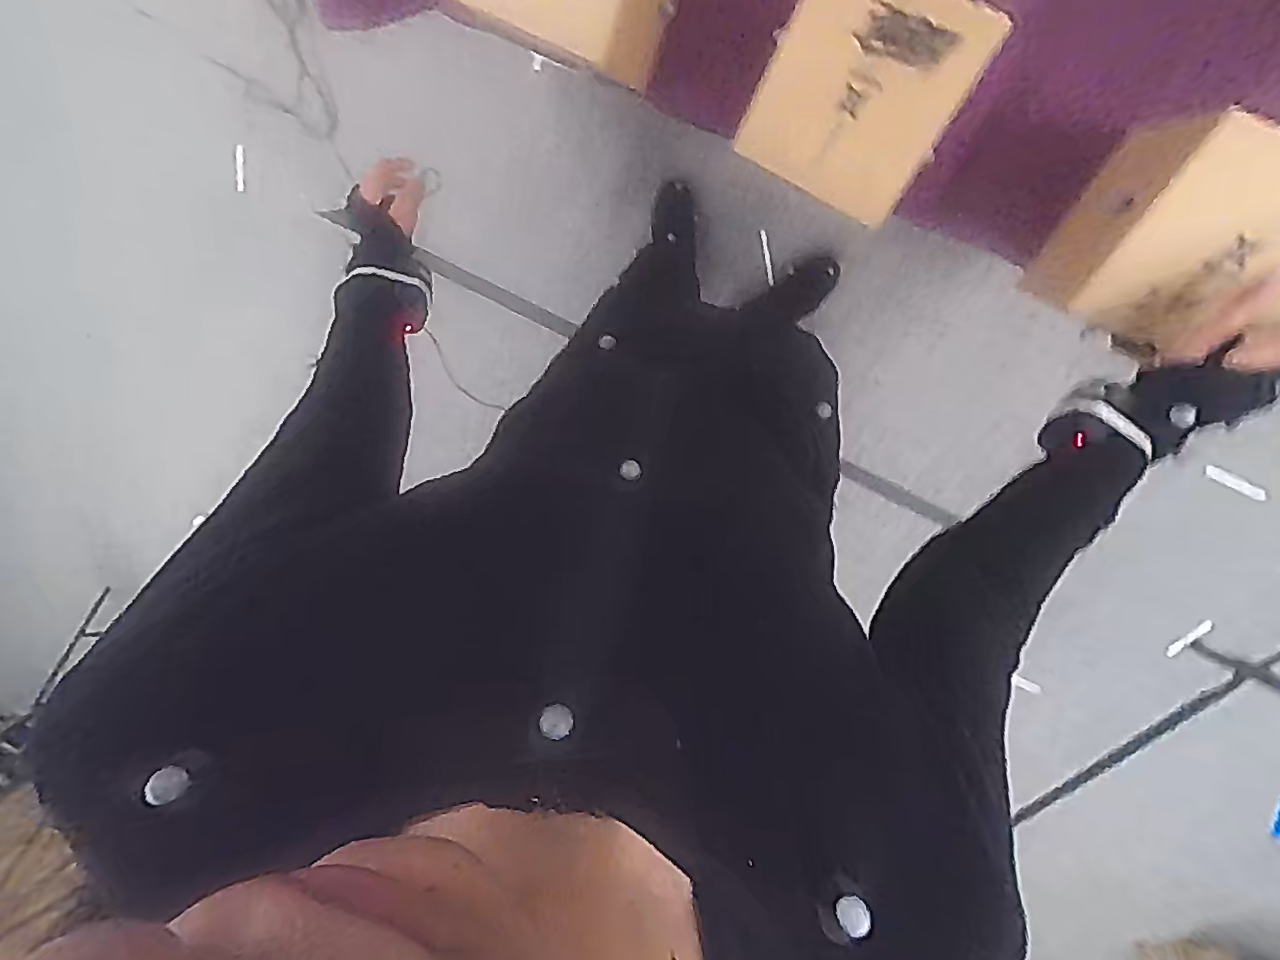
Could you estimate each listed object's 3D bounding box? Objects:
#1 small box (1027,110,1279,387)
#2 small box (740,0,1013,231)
[{"bbox_3d":[0.534,-0.225,0.535,0.168,0.176,0.179,28,122,4],"label":"small box"},{"bbox_3d":[0.223,-0.384,0.553,0.168,0.176,0.179,30,123,1],"label":"small box"}]
